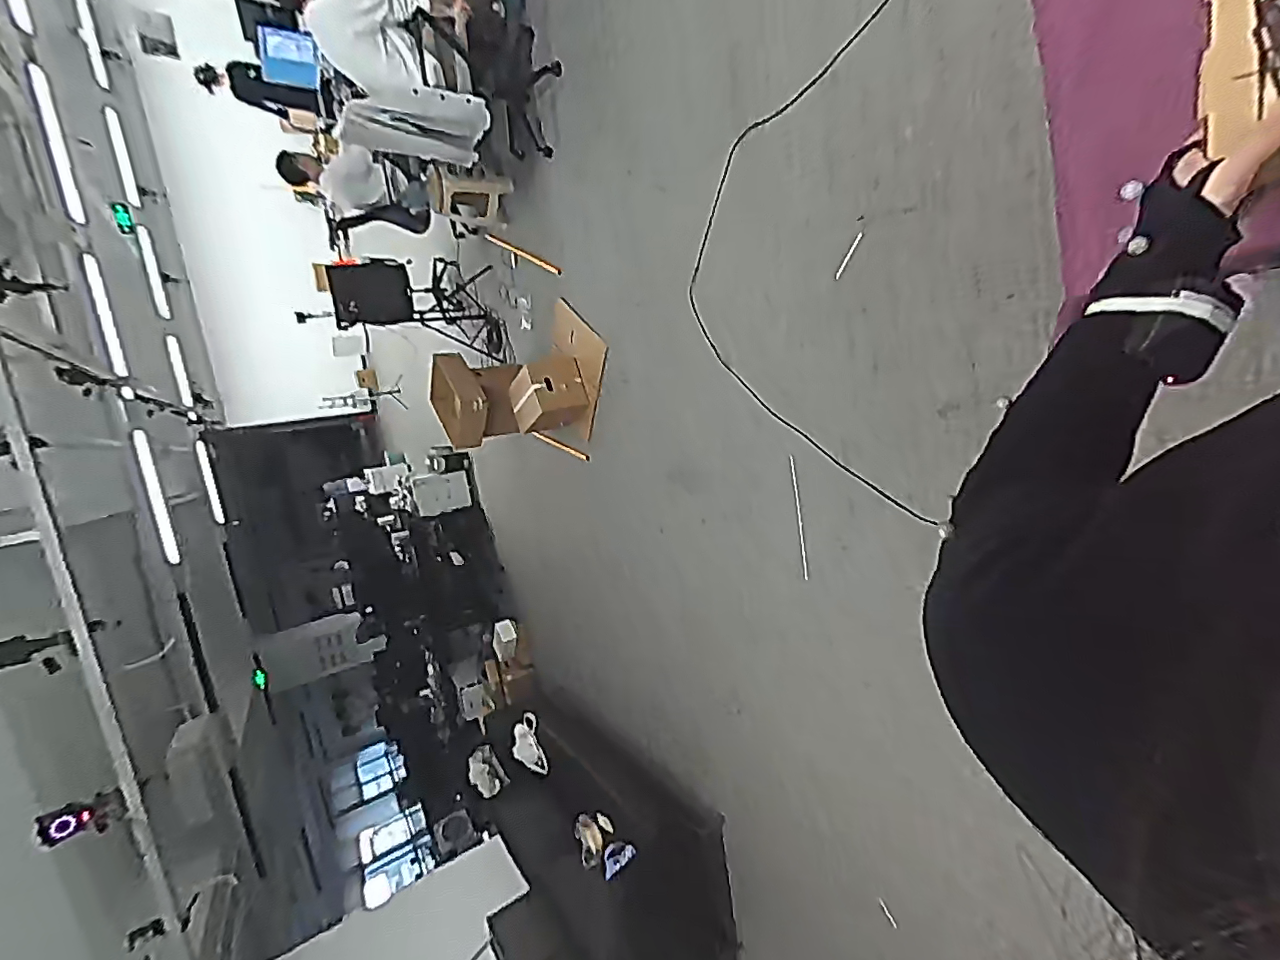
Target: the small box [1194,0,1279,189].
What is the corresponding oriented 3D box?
[{"bbox_3d":[0.529,-0.317,0.373,0.179,0.176,0.168,8,115,54],"label":"small box"}]
